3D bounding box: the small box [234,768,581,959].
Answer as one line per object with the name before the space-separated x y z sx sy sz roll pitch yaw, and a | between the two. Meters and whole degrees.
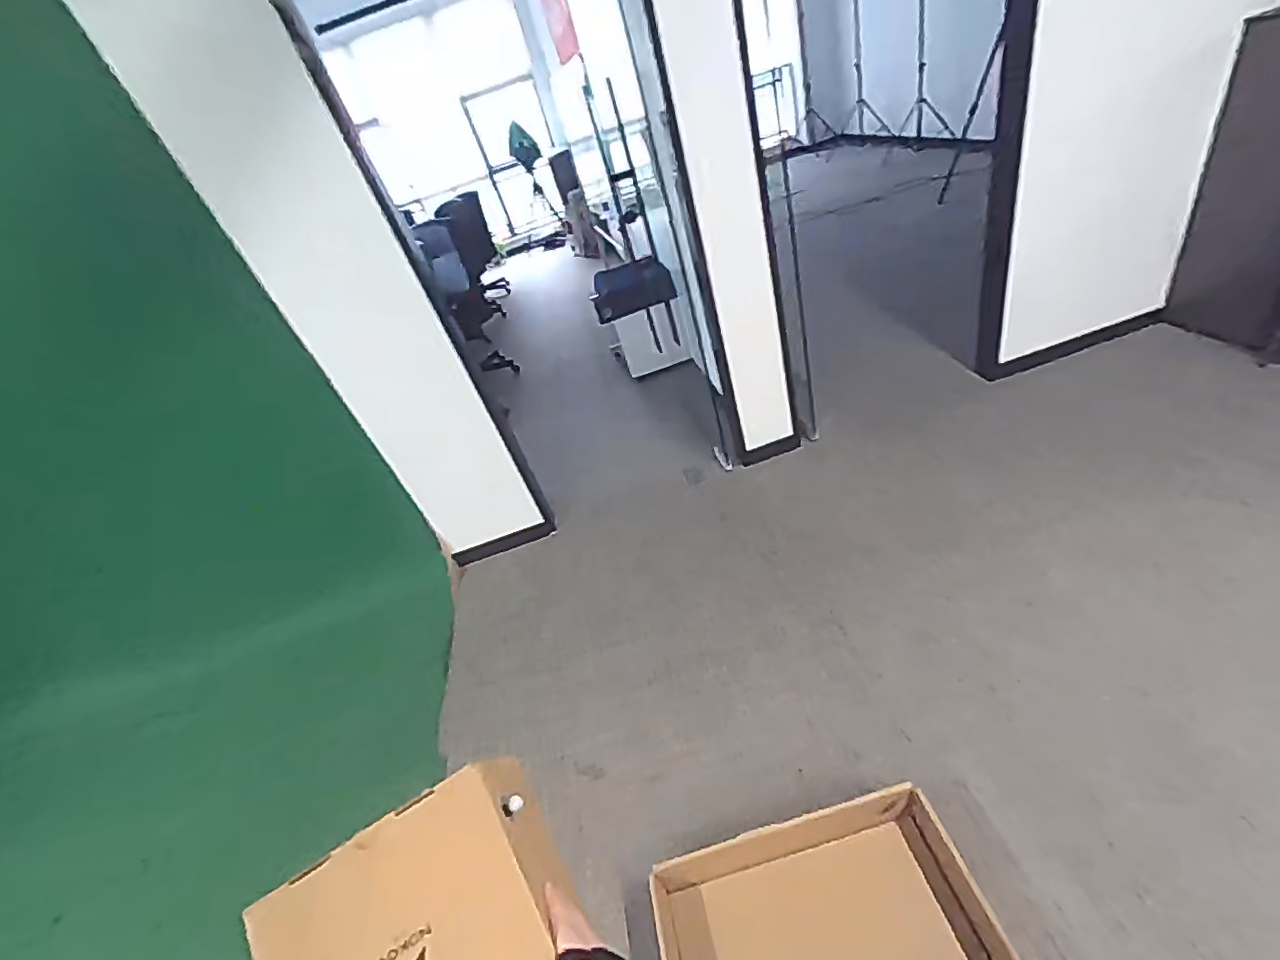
small box | -0.155 0.350 0.416 0.168 0.176 0.179 -29 69 -16
